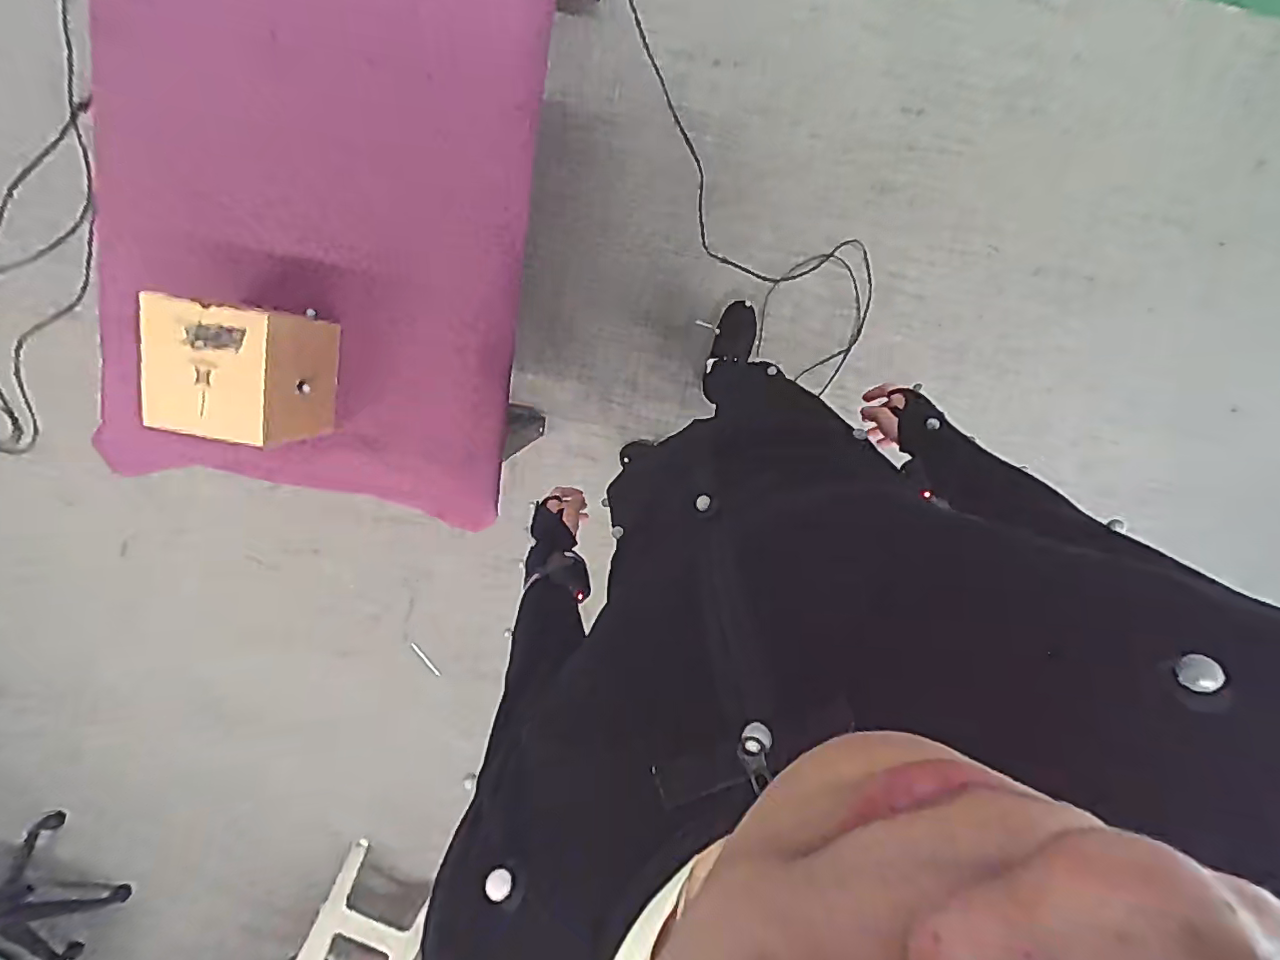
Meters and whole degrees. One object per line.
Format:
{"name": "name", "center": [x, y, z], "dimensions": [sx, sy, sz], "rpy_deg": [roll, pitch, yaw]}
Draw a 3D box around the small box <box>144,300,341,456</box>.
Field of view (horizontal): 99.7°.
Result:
{"name": "small box", "center": [-0.559, -0.147, 0.781], "dimensions": [0.168, 0.176, 0.179], "rpy_deg": [11, 103, -1]}
